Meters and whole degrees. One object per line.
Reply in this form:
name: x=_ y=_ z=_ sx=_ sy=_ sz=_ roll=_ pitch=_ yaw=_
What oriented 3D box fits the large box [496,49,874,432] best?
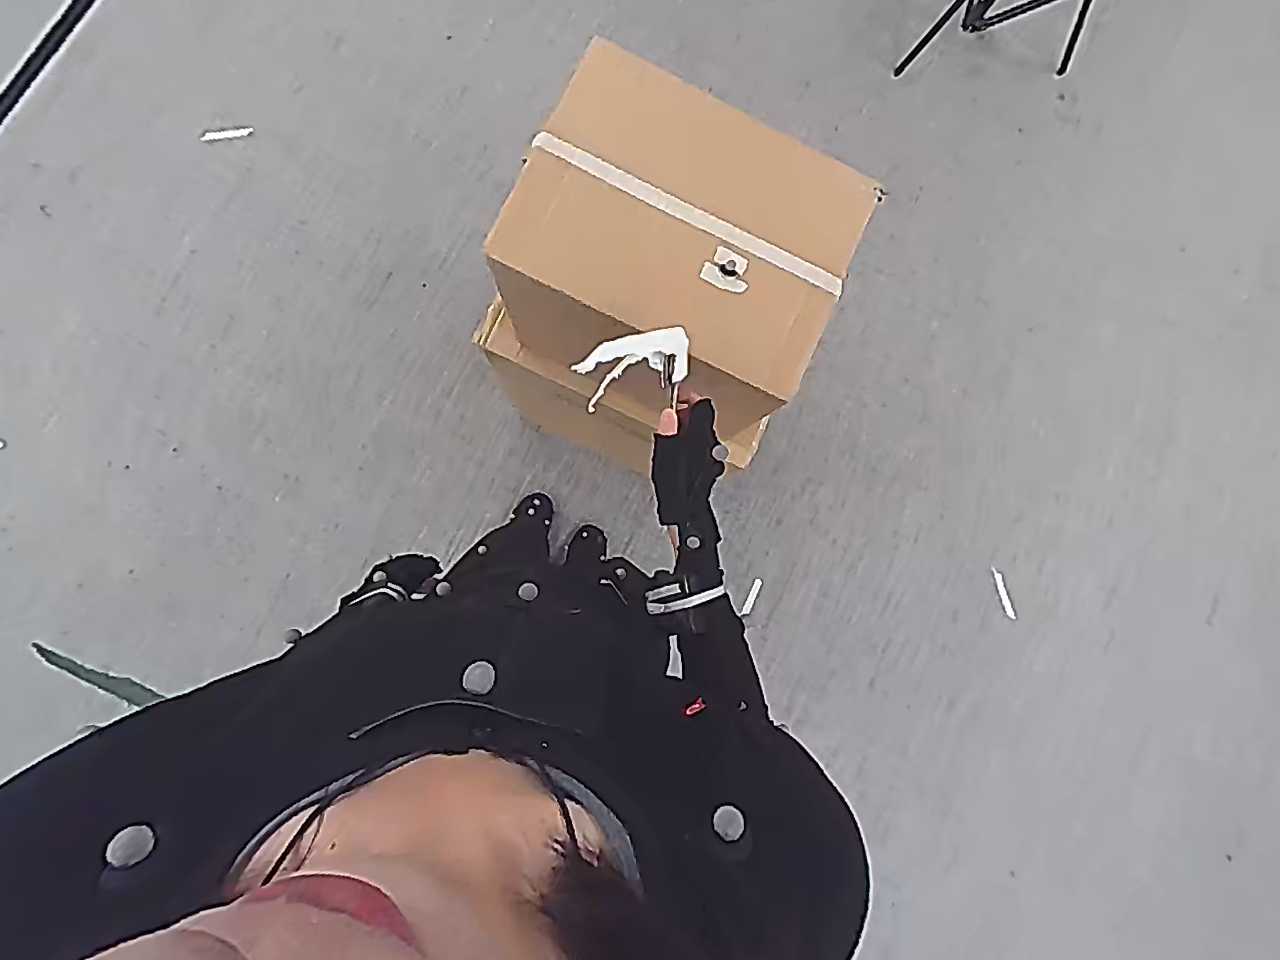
large box: x=0.048 y=-0.312 z=0.817 sx=0.408 sy=0.320 sz=0.320 roll=25 pitch=83 yaw=-4
